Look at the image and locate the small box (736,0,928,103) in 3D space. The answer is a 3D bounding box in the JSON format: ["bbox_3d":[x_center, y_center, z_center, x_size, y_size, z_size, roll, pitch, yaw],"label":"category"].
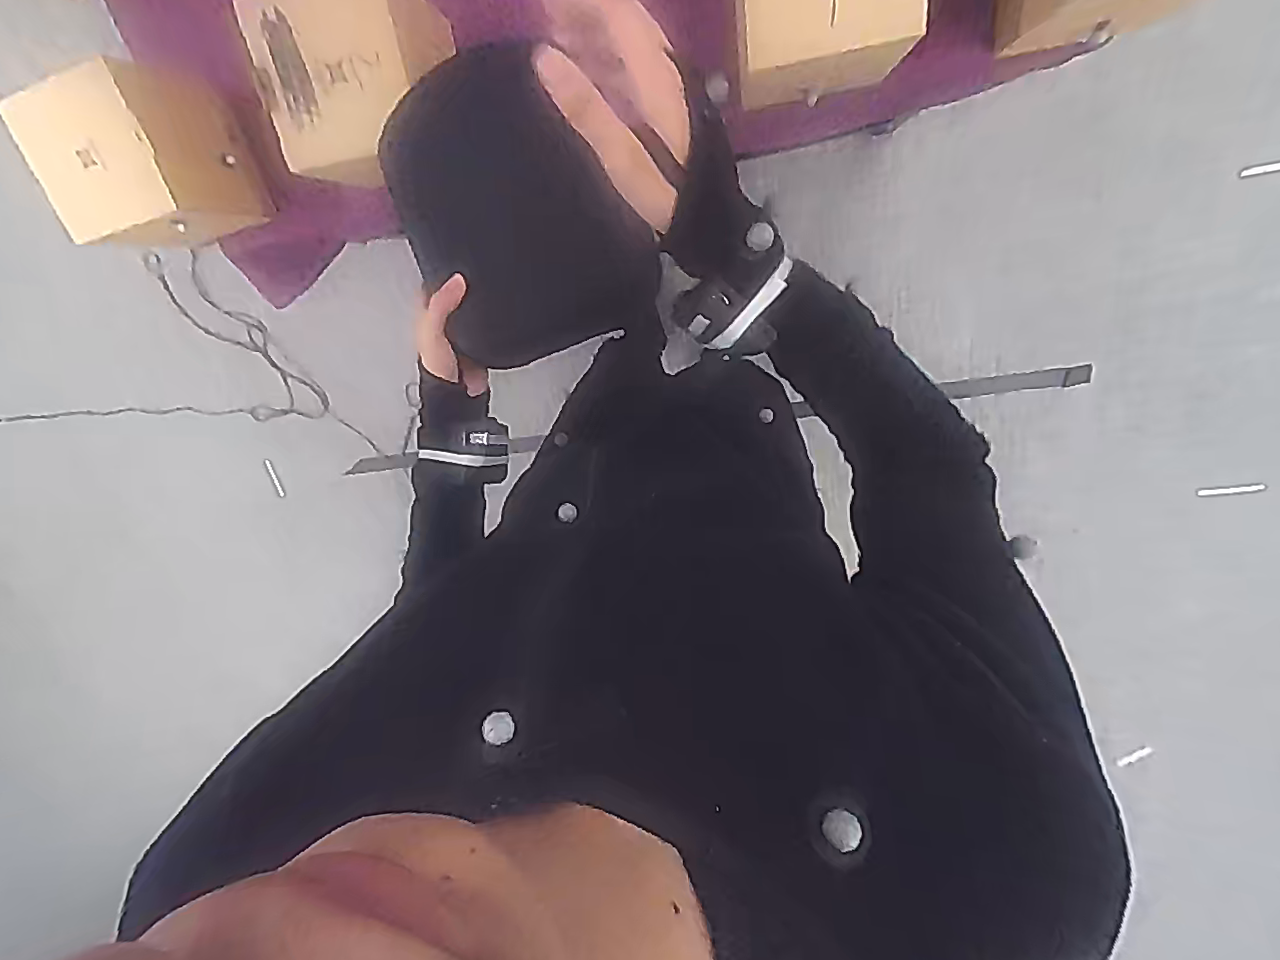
[{"bbox_3d":[0.185,-0.522,0.556,0.168,0.176,0.179,-4,113,11],"label":"small box"}]

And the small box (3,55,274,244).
[{"bbox_3d":[-0.656,-0.427,0.732,0.179,0.176,0.168,-11,111,12],"label":"small box"}]

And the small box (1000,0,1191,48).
[{"bbox_3d":[0.464,-0.545,0.499,0.168,0.176,0.179,-4,112,11],"label":"small box"}]
